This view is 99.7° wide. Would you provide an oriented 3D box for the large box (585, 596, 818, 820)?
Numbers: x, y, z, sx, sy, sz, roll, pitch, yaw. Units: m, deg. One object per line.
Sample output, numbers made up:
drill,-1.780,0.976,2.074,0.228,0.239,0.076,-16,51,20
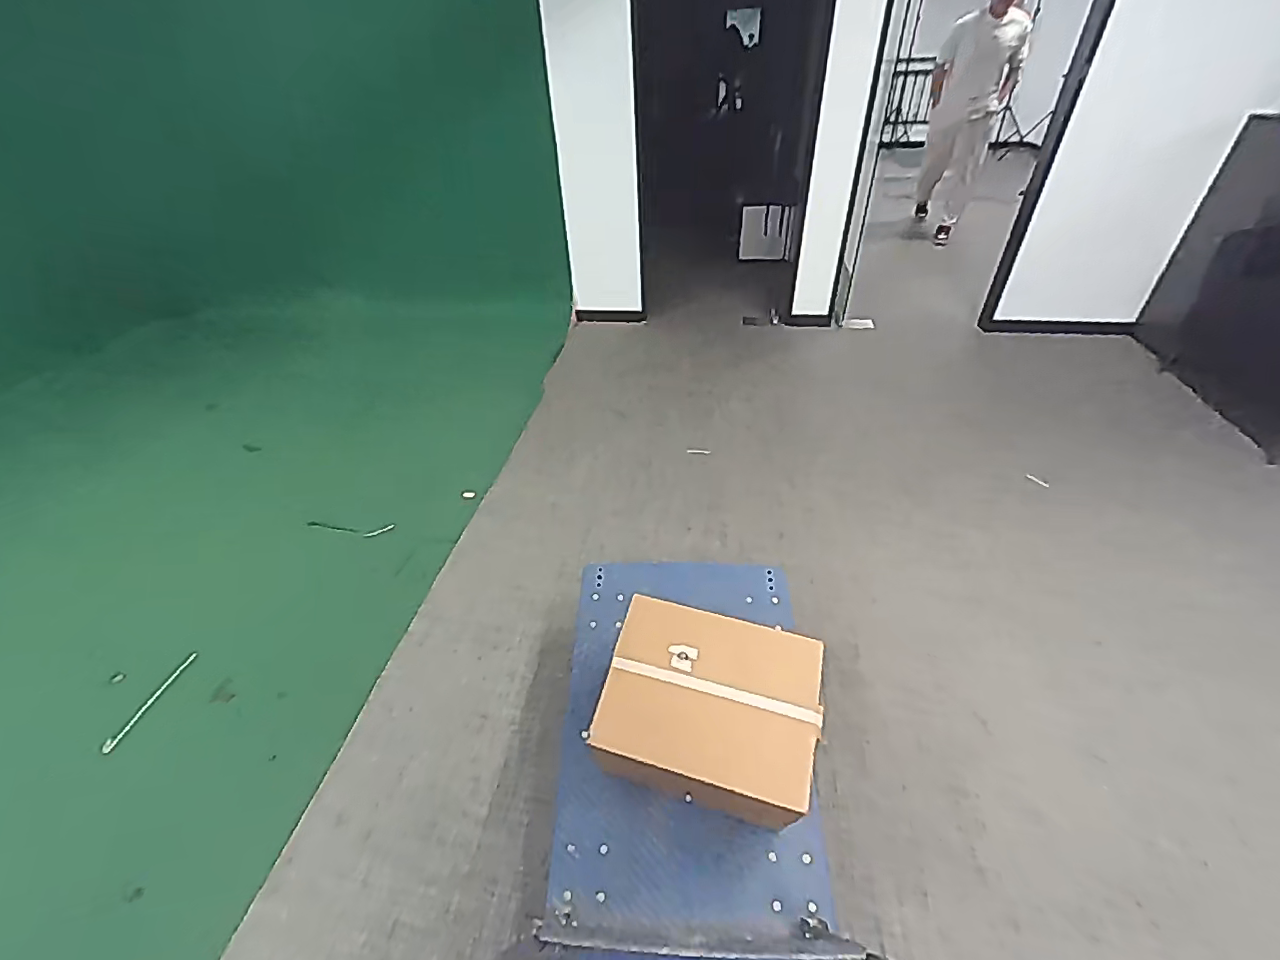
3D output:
large box,0.140,0.493,1.165,0.408,0.320,0.320,12,55,13
